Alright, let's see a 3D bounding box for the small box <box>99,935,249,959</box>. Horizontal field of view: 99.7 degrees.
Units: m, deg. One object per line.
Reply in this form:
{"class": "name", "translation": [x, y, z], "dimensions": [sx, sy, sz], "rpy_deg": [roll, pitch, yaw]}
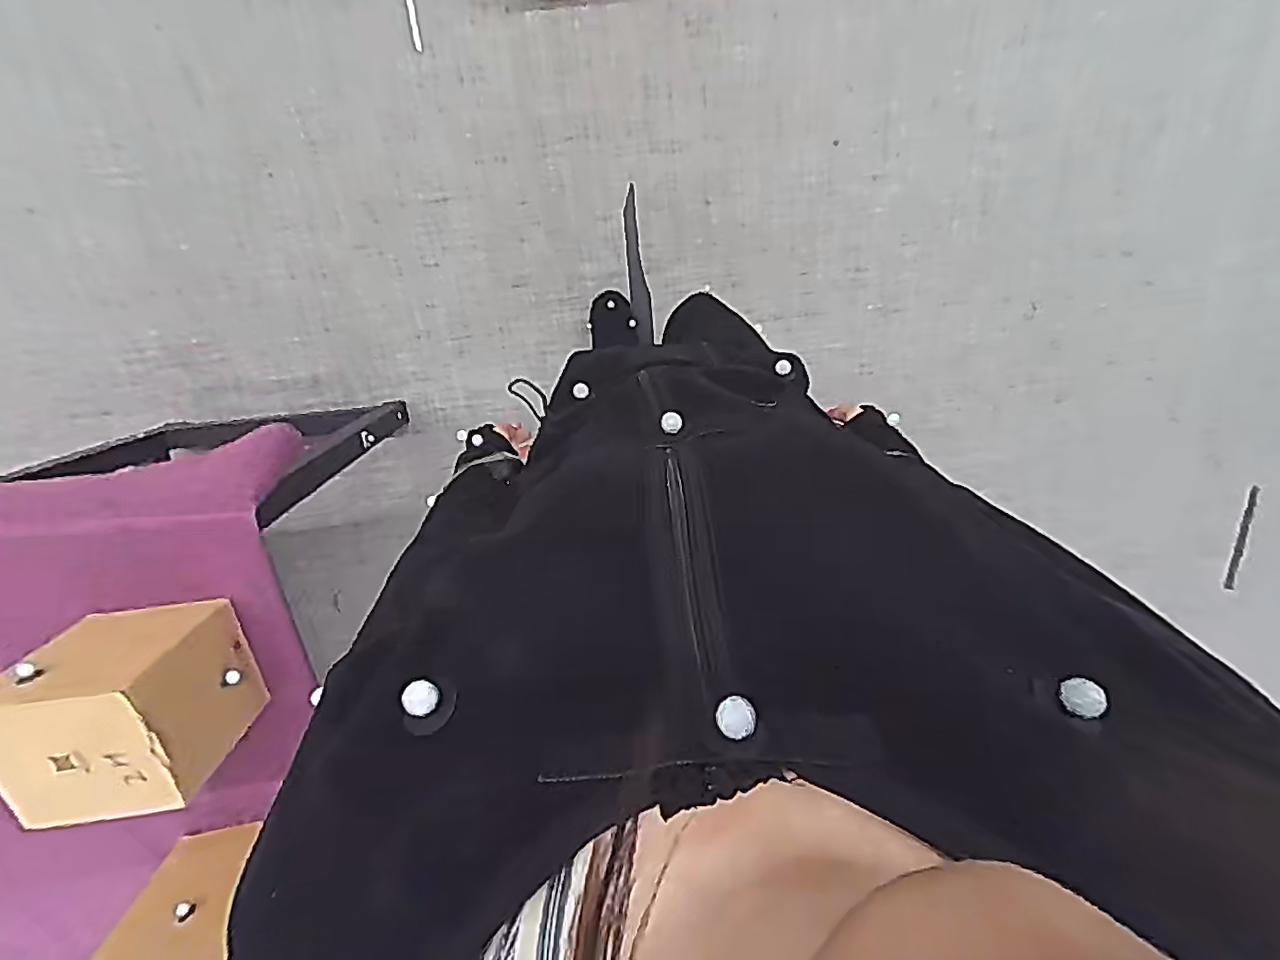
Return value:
{"class": "small box", "translation": [-0.555, 0.655, 0.602], "dimensions": [0.179, 0.176, 0.168], "rpy_deg": [-9, 110, -3]}

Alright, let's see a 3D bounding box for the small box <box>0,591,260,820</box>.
{"class": "small box", "translation": [-0.595, 0.248, 0.624], "dimensions": [0.179, 0.176, 0.168], "rpy_deg": [-7, 111, -3]}
